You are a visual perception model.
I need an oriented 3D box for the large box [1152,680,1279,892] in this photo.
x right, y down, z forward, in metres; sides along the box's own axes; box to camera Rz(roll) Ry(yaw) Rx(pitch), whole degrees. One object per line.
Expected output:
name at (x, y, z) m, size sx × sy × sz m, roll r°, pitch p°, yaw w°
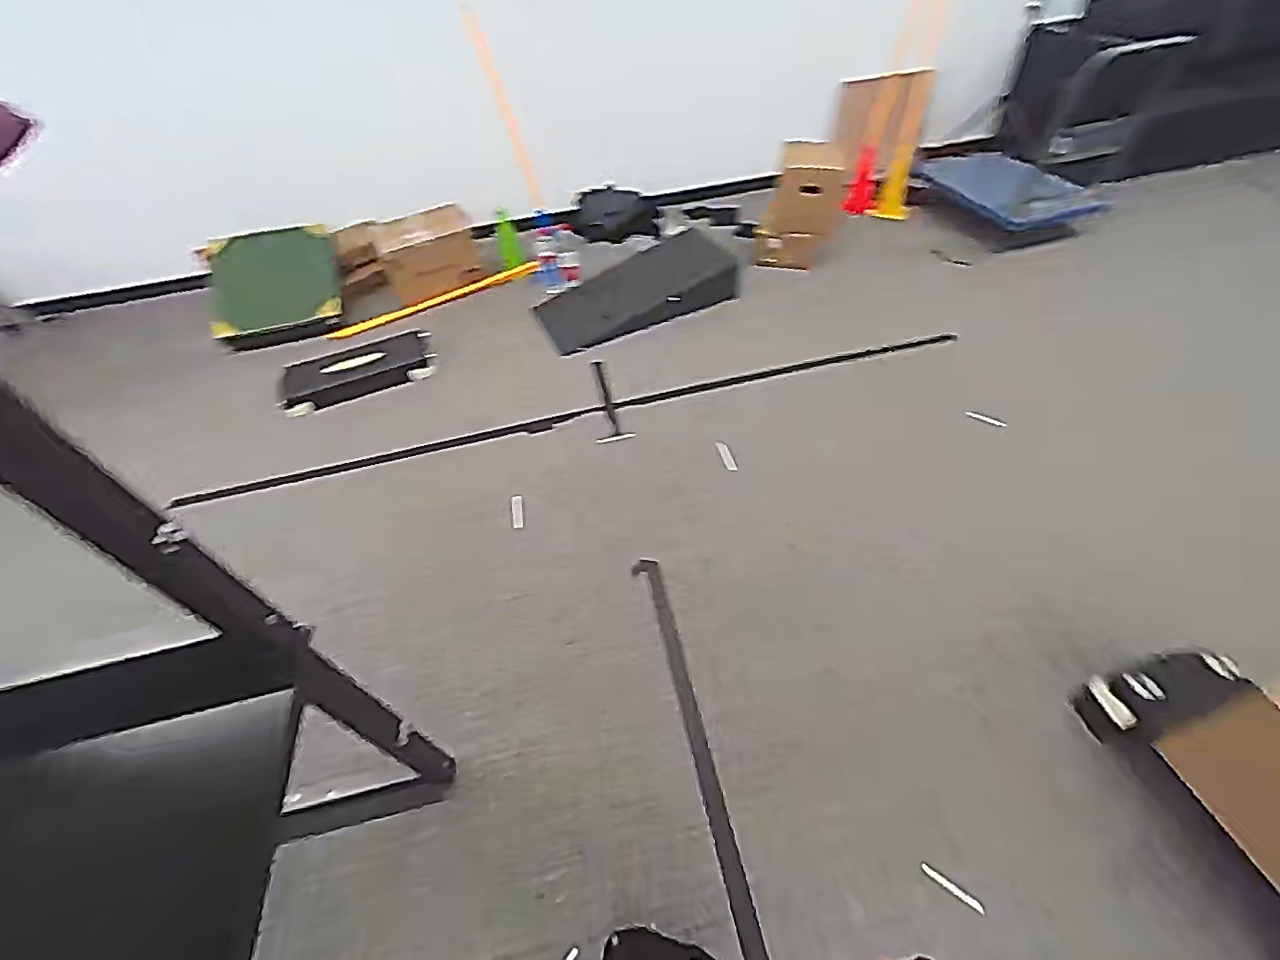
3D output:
large box at (1.256, 0.560, 0.916) m, size 0.320 × 0.320 × 0.408 m, roll -14°, pitch 47°, yaw -8°
